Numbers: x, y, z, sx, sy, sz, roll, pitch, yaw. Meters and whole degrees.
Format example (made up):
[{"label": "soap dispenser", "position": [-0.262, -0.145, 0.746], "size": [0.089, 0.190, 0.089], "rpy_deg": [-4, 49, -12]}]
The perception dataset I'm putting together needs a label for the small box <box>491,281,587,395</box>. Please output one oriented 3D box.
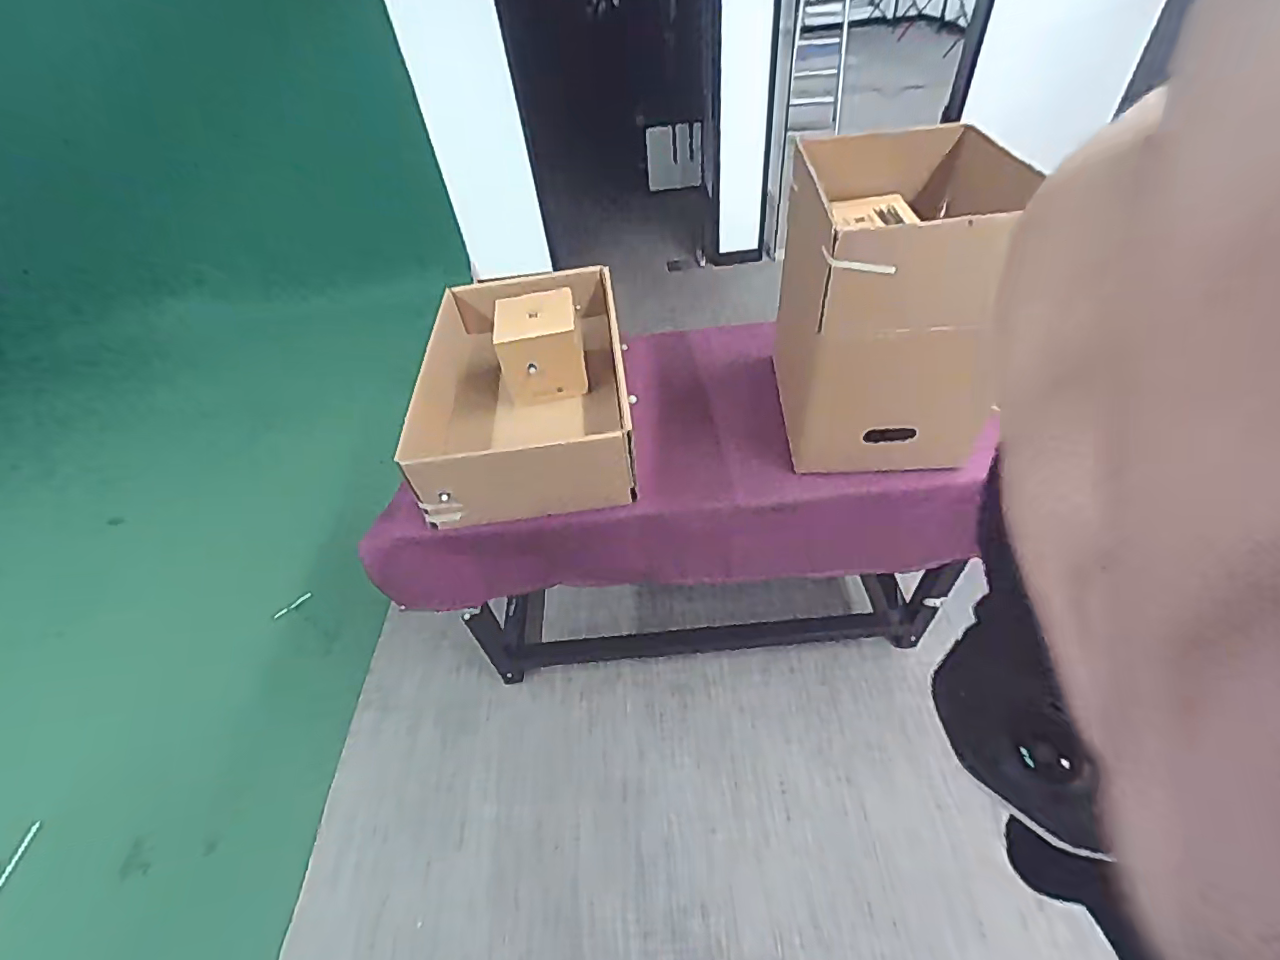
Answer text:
[{"label": "small box", "position": [-0.215, -0.302, 1.176], "size": [0.168, 0.176, 0.179], "rpy_deg": [-11, 48, 0]}]
